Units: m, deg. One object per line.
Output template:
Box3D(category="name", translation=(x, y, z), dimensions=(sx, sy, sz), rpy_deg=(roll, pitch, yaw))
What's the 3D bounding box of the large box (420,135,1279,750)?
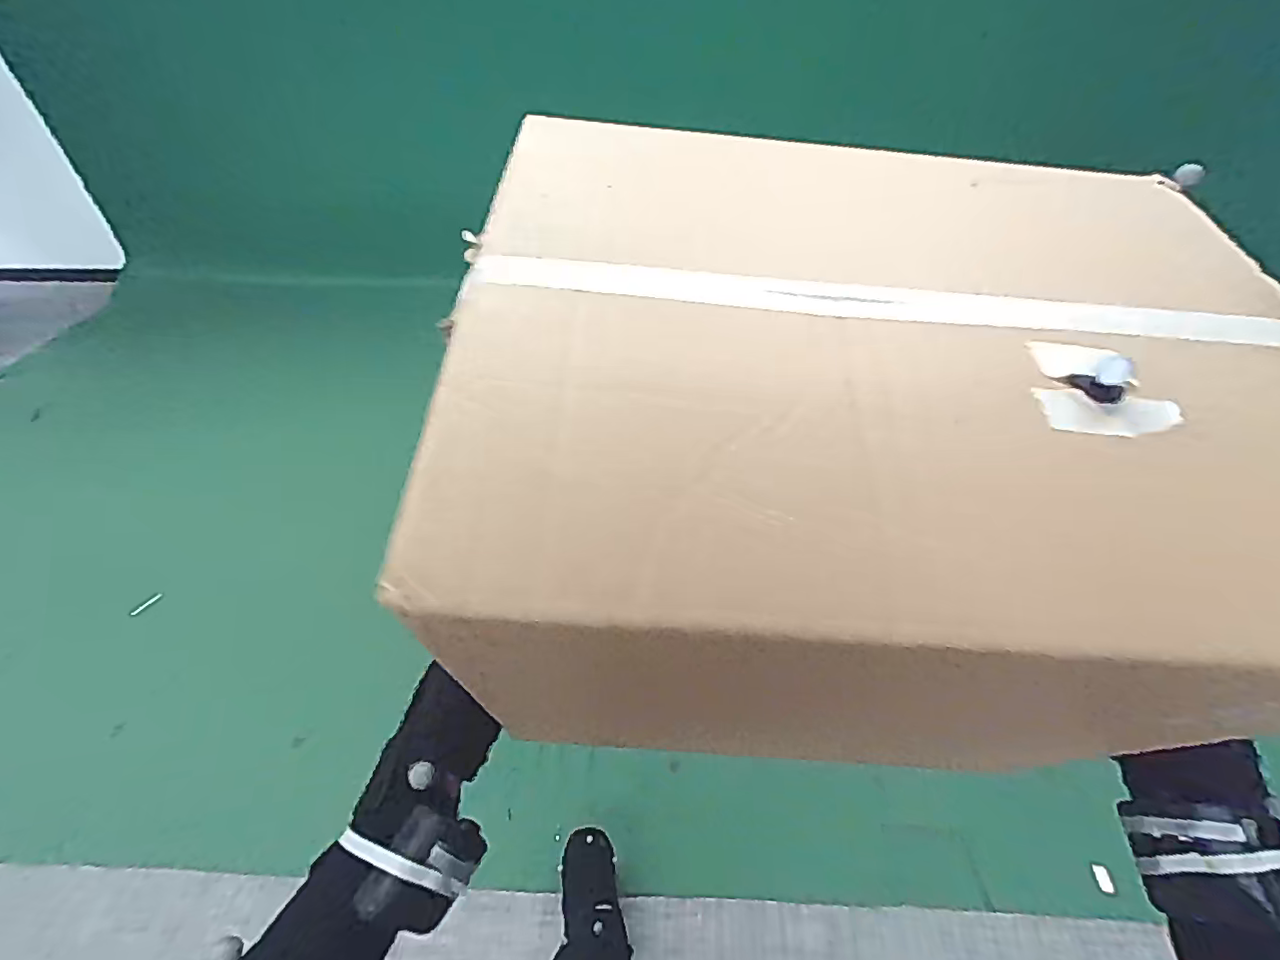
Box3D(category="large box", translation=(0.114, 0.002, 0.396), dimensions=(0.408, 0.320, 0.320), rpy_deg=(5, 58, -2))
